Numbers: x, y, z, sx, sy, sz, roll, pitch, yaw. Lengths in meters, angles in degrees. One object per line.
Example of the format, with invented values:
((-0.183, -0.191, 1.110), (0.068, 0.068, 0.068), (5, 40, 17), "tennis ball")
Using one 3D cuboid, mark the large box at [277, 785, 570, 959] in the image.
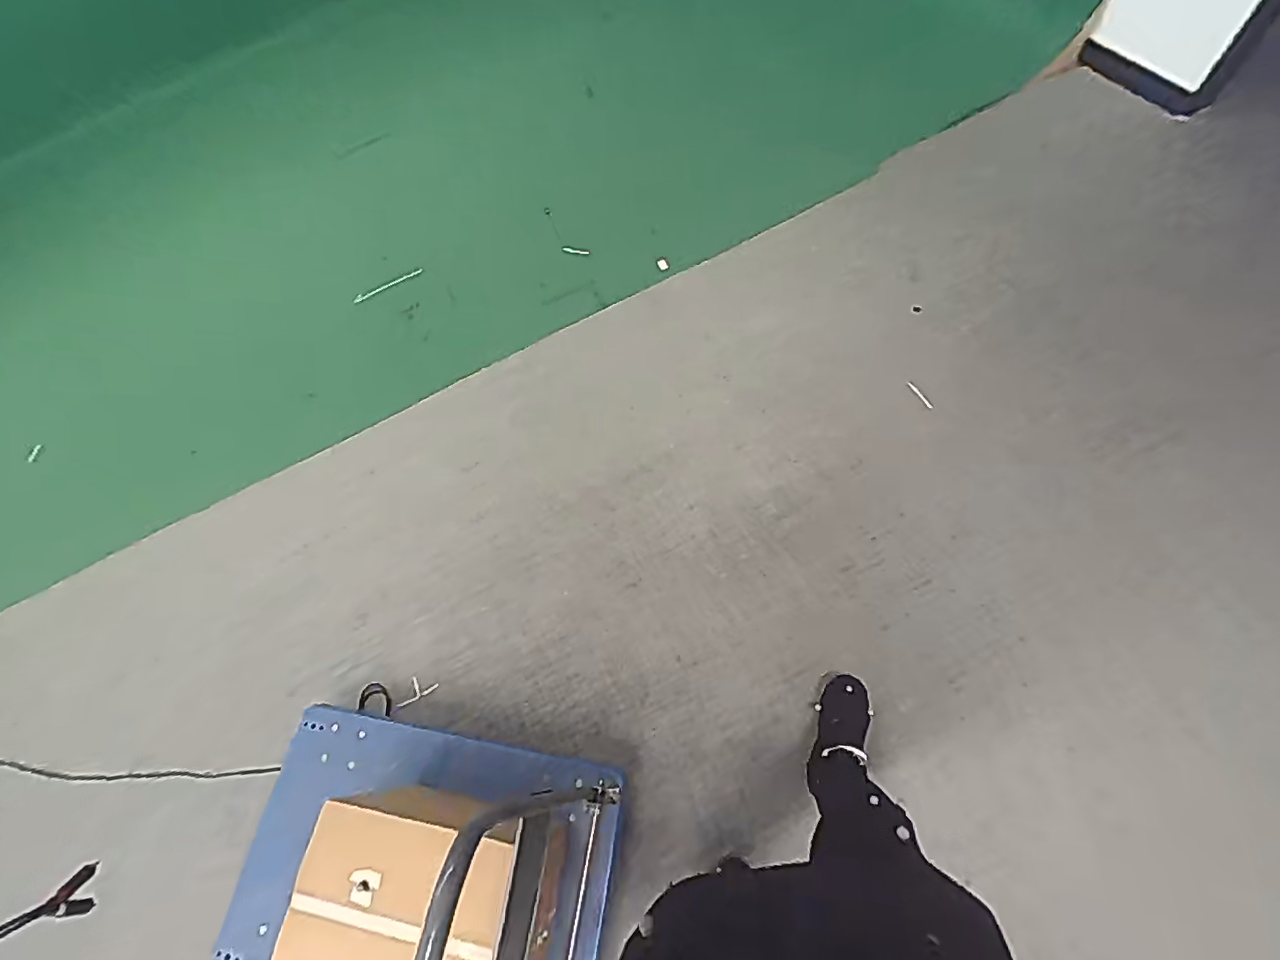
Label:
((-0.389, 0.816, 1.054), (0.408, 0.320, 0.320), (4, 66, 14), "large box")
